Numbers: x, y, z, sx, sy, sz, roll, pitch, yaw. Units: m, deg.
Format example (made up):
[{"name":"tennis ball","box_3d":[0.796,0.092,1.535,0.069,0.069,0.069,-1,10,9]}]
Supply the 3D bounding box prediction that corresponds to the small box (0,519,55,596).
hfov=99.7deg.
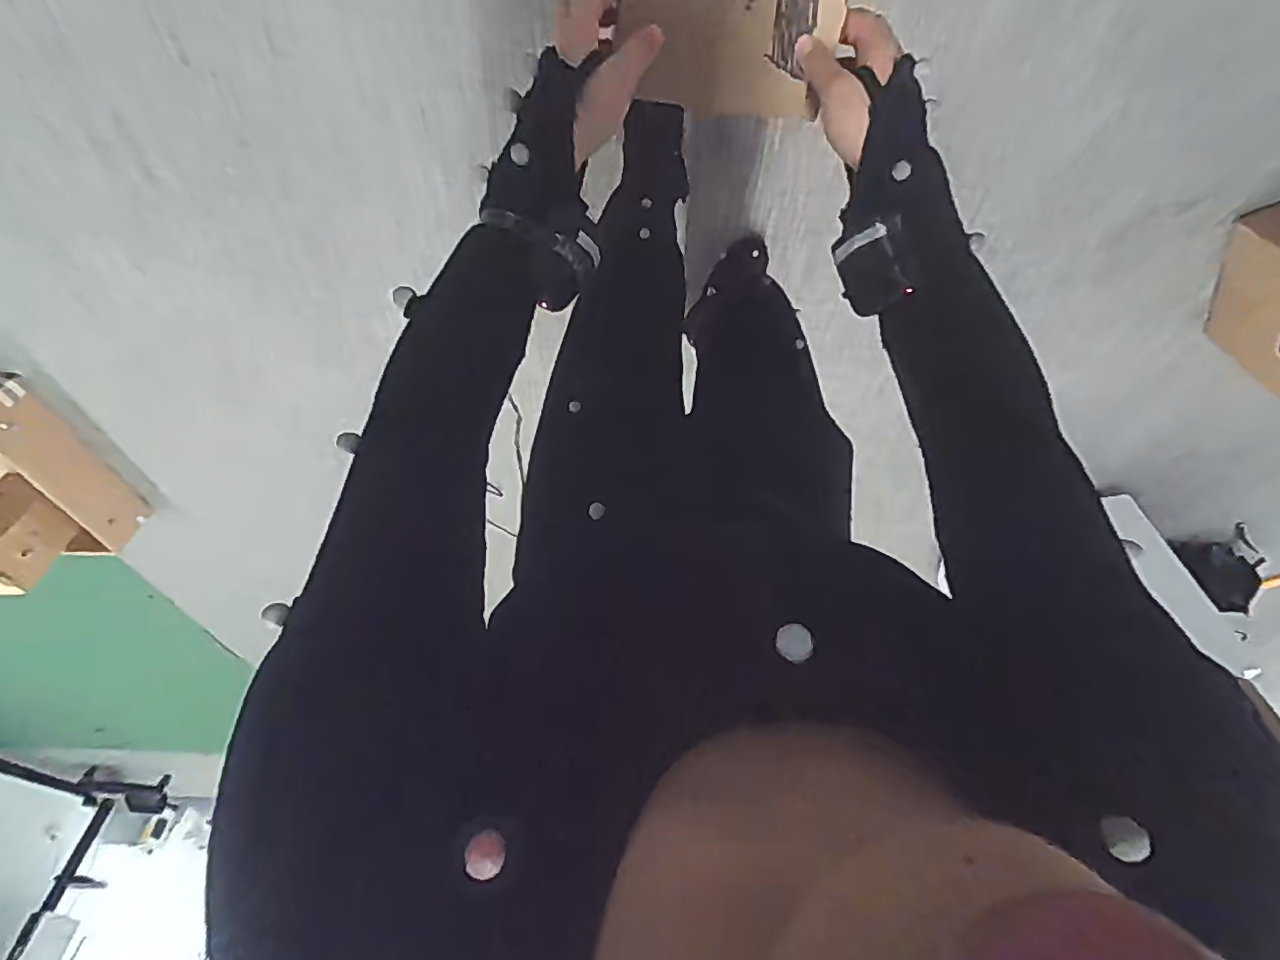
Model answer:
[{"name":"small box","box_3d":[-1.880,0.223,1.570,0.179,0.176,0.168,-1,138,0]}]

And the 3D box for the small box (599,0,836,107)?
[{"name":"small box","box_3d":[0.063,-0.447,0.466,0.179,0.176,0.168,-1,135,-10]}]
